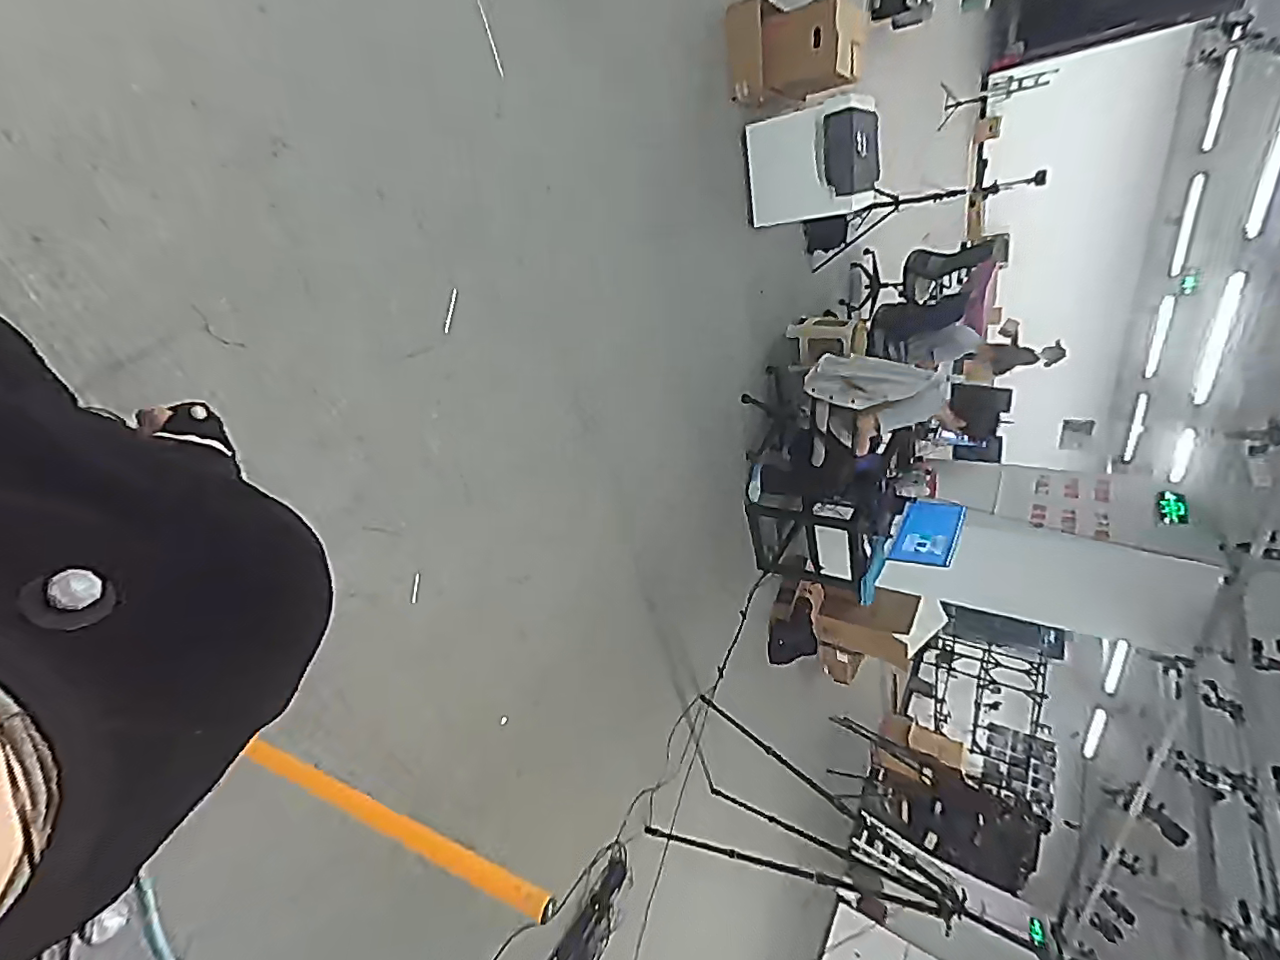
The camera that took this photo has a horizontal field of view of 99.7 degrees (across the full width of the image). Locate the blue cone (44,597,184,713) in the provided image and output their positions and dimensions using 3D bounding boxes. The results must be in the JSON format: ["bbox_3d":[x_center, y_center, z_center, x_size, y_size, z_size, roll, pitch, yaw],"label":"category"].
[{"bbox_3d":[-0.976,0.362,1.053,0.193,0.380,0.192,17,83,-56],"label":"blue cone"}]
